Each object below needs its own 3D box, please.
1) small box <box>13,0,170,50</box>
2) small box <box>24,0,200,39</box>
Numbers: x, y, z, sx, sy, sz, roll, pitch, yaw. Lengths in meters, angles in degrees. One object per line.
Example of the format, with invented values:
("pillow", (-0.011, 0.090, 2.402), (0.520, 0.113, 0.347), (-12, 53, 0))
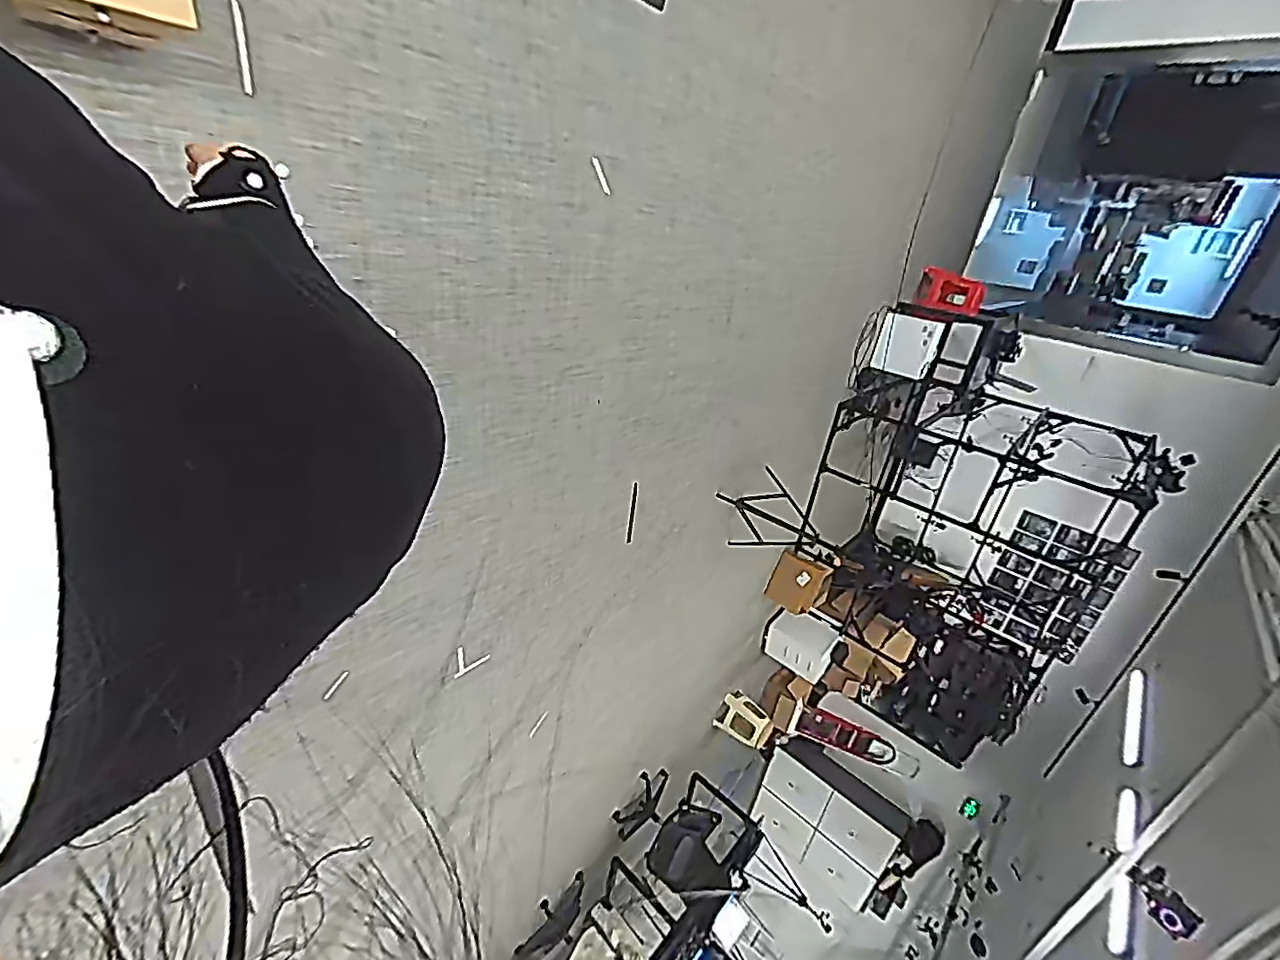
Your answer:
("small box", (-0.878, -0.806, 0.846), (0.168, 0.176, 0.179), (-21, 130, -46))
("small box", (-0.759, -0.741, 0.751), (0.179, 0.176, 0.168), (-22, 130, -46))
